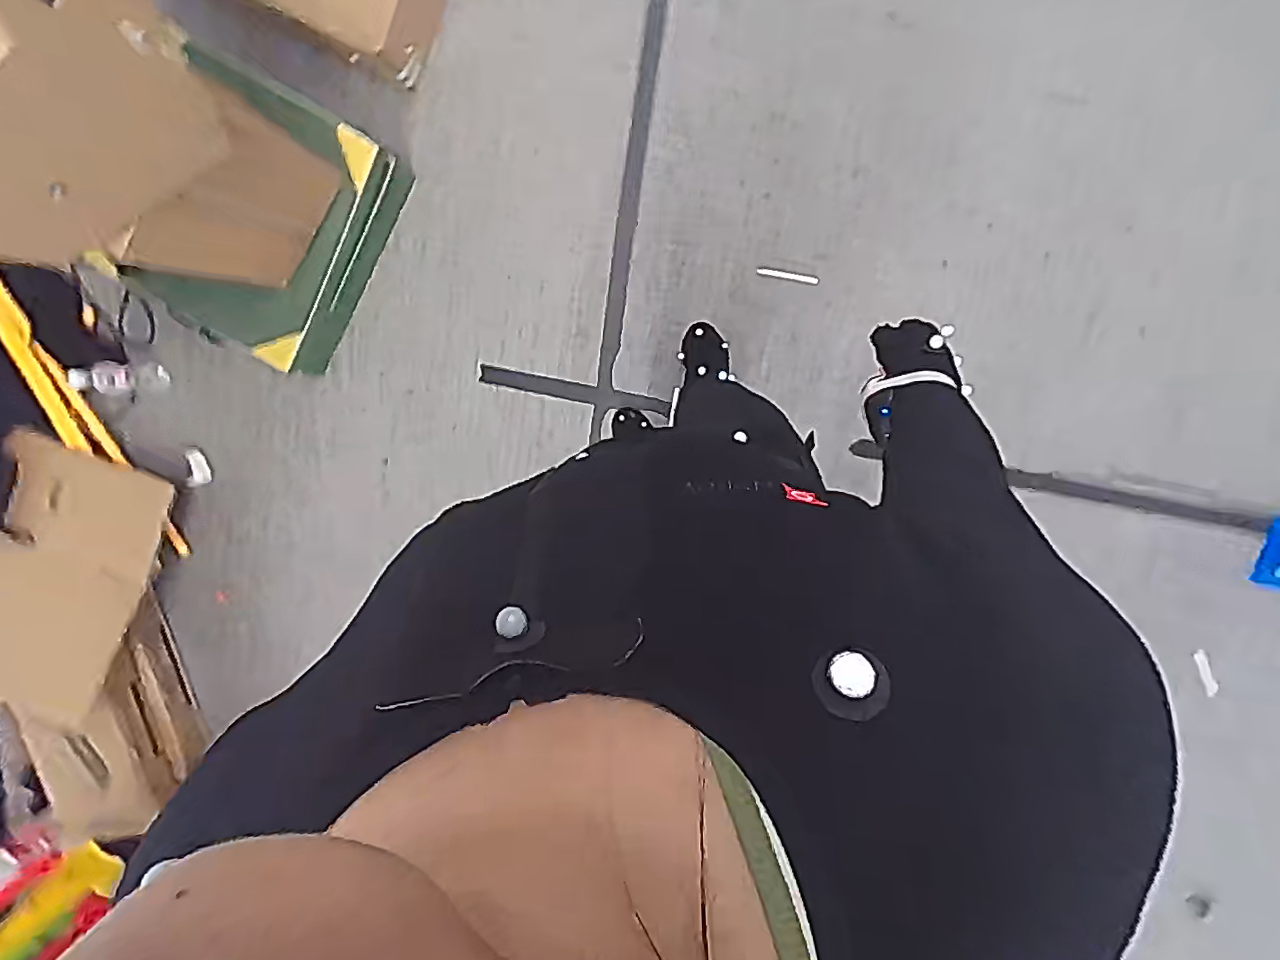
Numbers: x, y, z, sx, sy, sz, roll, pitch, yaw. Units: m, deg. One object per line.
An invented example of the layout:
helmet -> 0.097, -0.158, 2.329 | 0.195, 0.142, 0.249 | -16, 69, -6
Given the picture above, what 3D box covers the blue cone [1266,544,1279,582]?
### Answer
blue cone -> 1.669, 0.212, 1.181 | 0.192, 0.380, 0.193 | 9, 103, 3
